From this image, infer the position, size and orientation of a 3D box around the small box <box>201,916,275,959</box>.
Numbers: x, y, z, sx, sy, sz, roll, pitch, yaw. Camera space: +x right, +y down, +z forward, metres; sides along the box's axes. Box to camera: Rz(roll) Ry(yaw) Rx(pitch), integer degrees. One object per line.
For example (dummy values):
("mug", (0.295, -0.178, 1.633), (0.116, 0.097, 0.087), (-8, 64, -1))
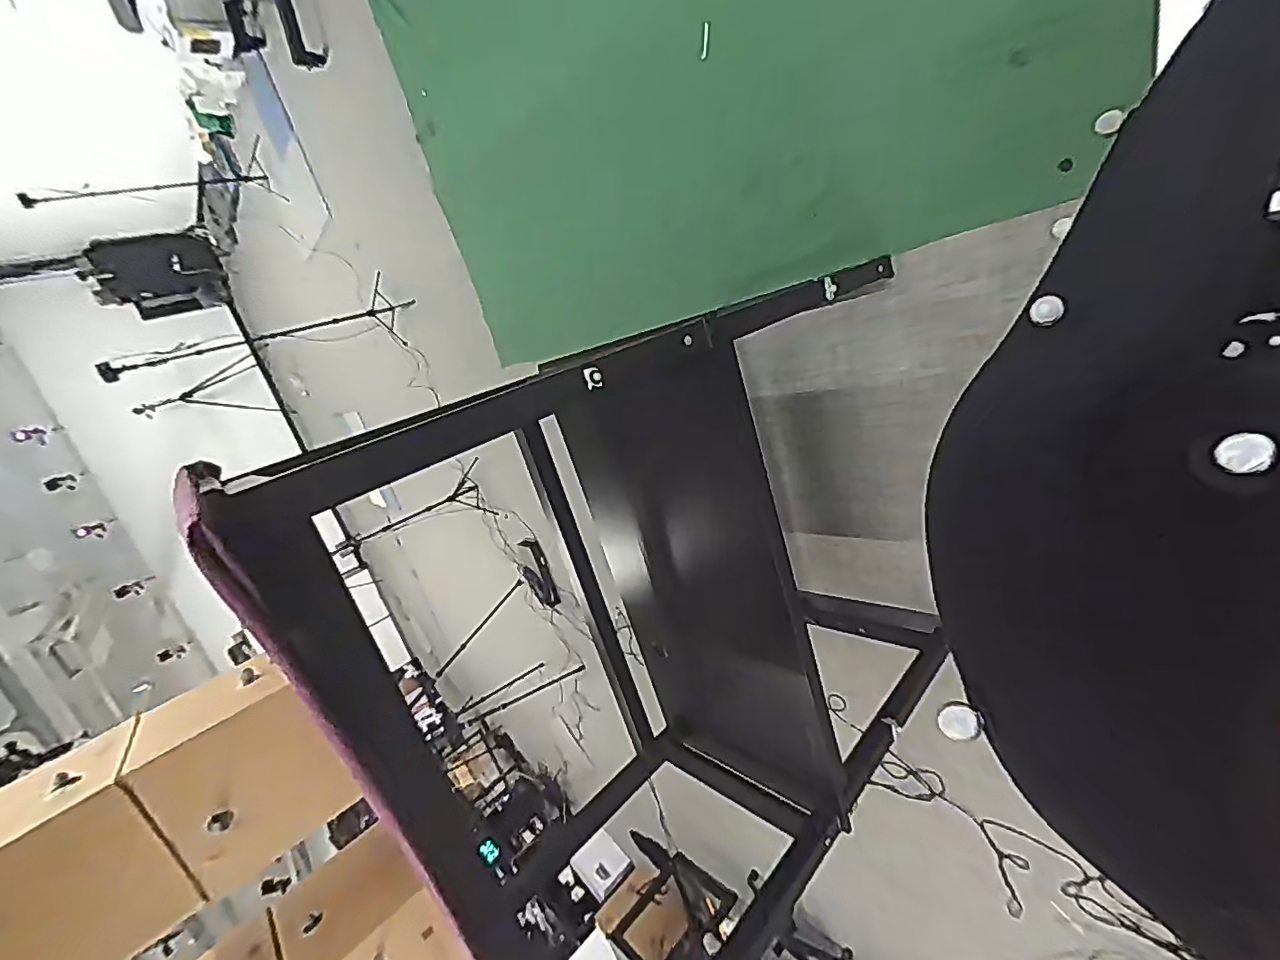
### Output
("small box", (-0.477, 0.679, 0.626), (0.168, 0.176, 0.179), (3, 115, 49))

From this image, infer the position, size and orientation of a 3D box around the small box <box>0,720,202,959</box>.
("small box", (-0.582, 0.395, 0.562), (0.168, 0.176, 0.179), (2, 115, 53))

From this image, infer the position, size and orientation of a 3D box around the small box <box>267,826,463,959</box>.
("small box", (-0.358, 0.615, 0.721), (0.179, 0.176, 0.168), (4, 115, 51))

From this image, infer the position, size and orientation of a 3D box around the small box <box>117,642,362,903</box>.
("small box", (-0.460, 0.329, 0.646), (0.168, 0.176, 0.179), (2, 115, 53))
